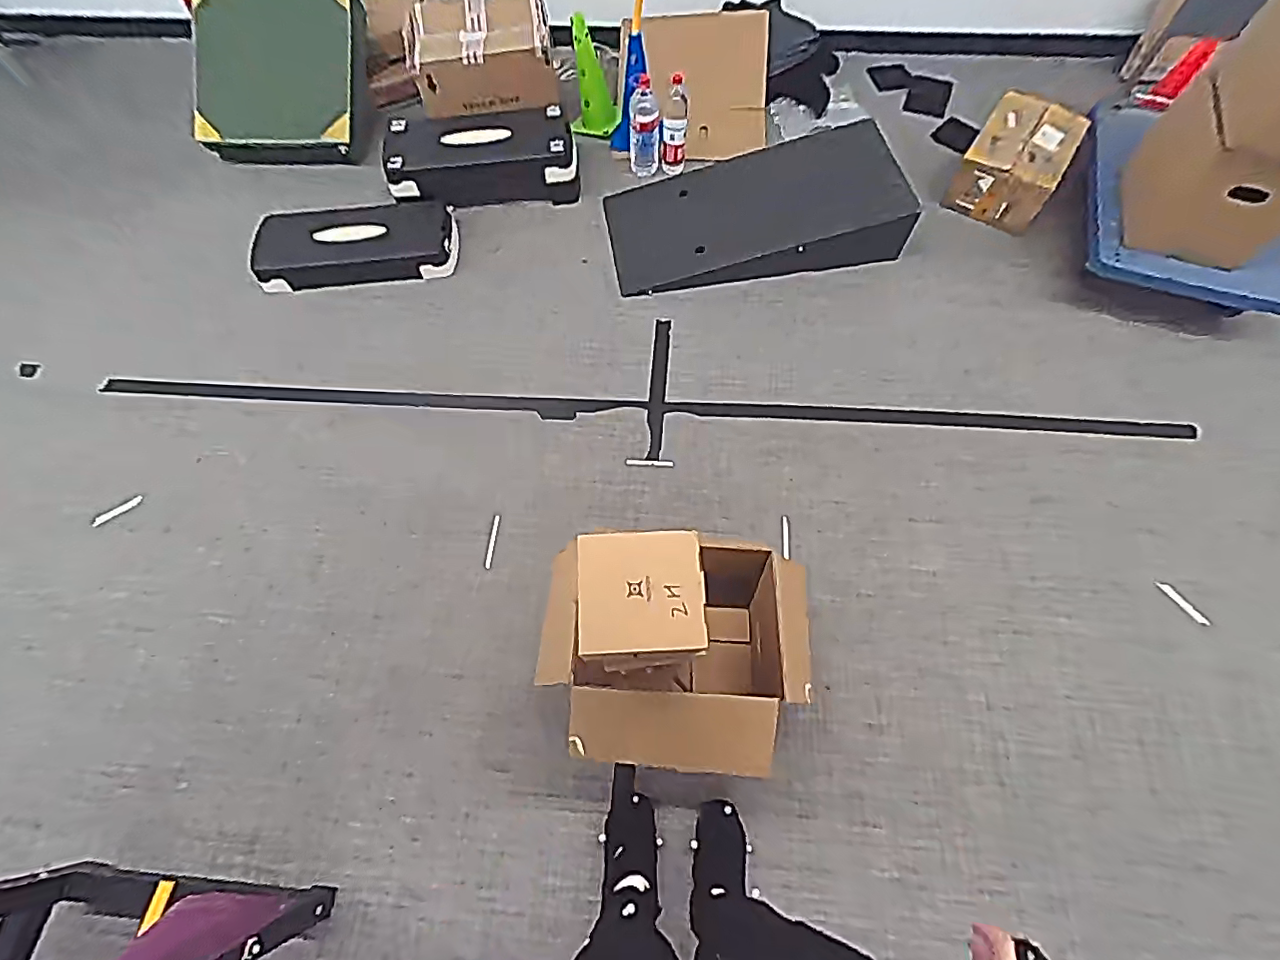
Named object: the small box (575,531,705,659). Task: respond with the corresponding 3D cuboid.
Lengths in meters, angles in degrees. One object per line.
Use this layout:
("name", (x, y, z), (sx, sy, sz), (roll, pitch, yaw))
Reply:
("small box", (-0.004, 0.180, 0.820), (0.179, 0.176, 0.168), (-2, 70, -4))
